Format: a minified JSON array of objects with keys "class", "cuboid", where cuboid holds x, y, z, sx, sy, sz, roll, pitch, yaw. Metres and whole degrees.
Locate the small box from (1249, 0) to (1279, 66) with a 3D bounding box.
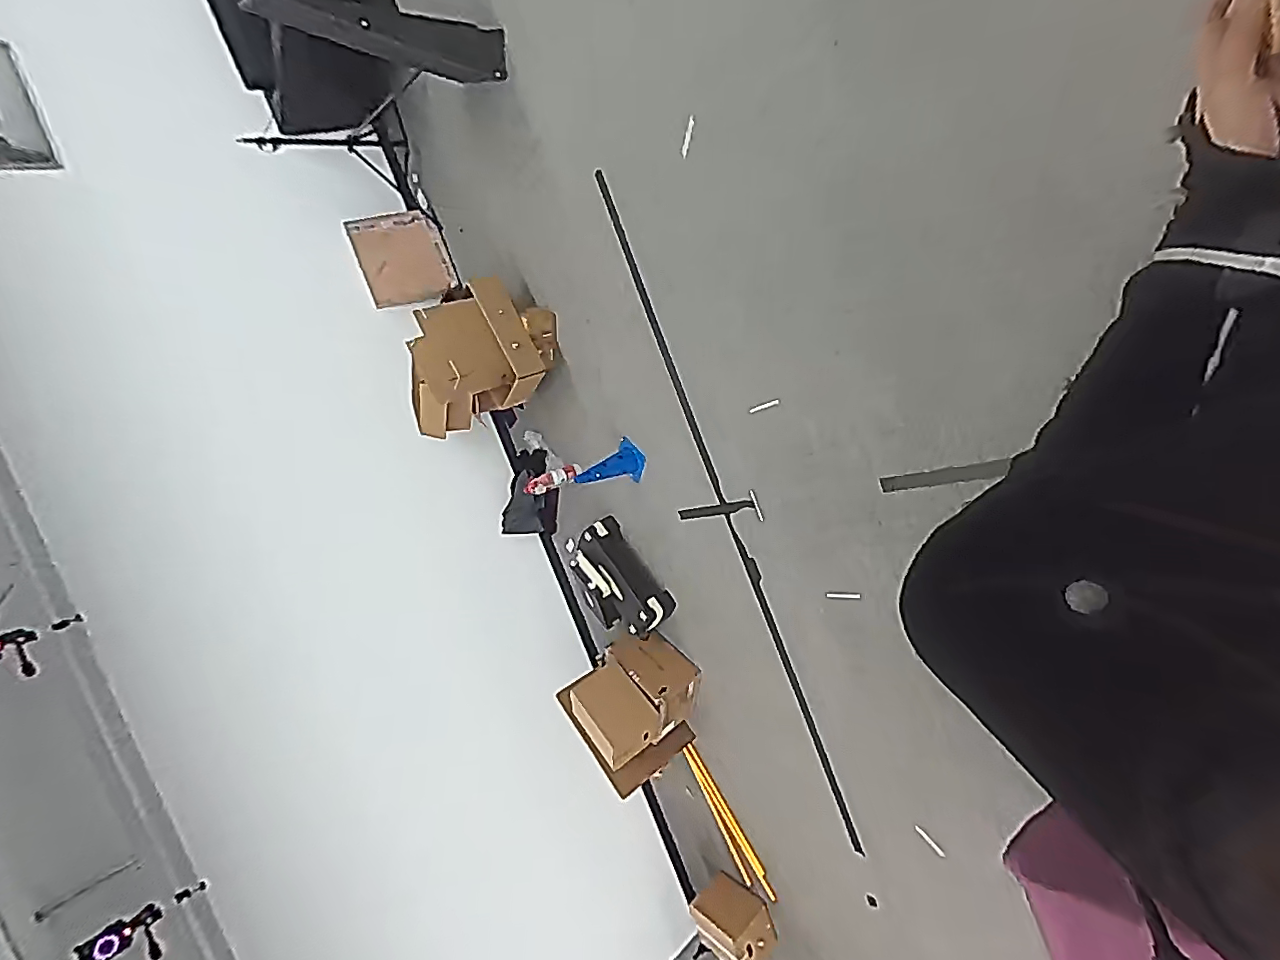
[{"class":"small box","cuboid":[0.436,-0.363,0.276,0.179,0.176,0.168,-8,98,49]}]
